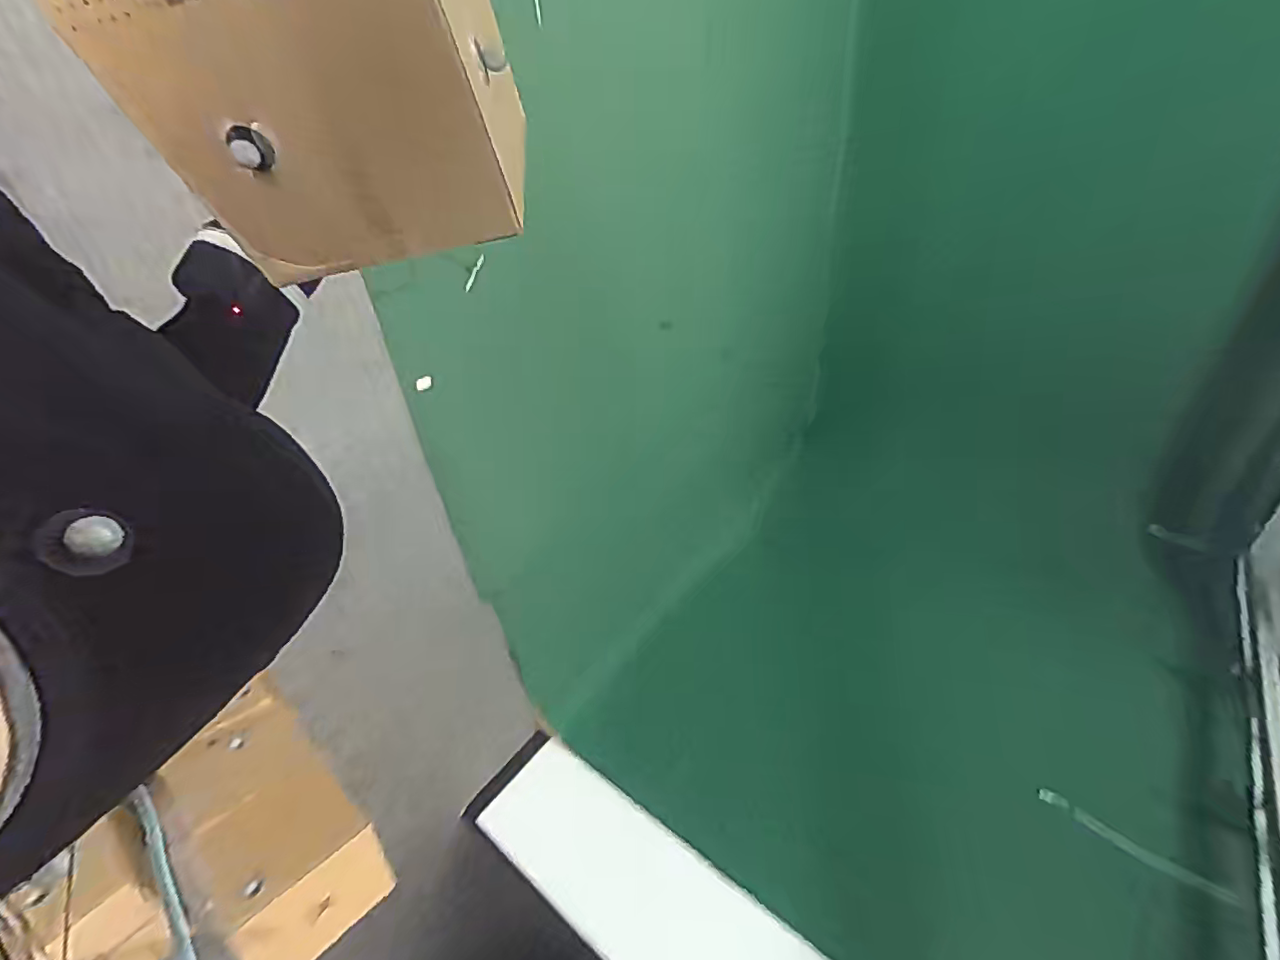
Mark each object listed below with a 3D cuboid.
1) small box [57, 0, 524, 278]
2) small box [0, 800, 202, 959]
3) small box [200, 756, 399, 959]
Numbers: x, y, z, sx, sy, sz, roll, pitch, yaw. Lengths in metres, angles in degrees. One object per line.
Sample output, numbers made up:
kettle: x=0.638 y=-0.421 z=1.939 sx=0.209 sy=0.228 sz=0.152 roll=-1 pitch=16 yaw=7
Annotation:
small box: x=-0.175 y=-0.257 z=0.315 sx=0.176 sy=0.168 sz=0.179 roll=72 pitch=9 yaw=-55
small box: x=-0.756 y=0.589 z=0.732 sx=0.179 sy=0.176 sz=0.168 roll=-38 pitch=134 yaw=-39
small box: x=-0.489 y=0.550 z=0.786 sx=0.179 sy=0.176 sz=0.168 roll=-29 pitch=129 yaw=-41
